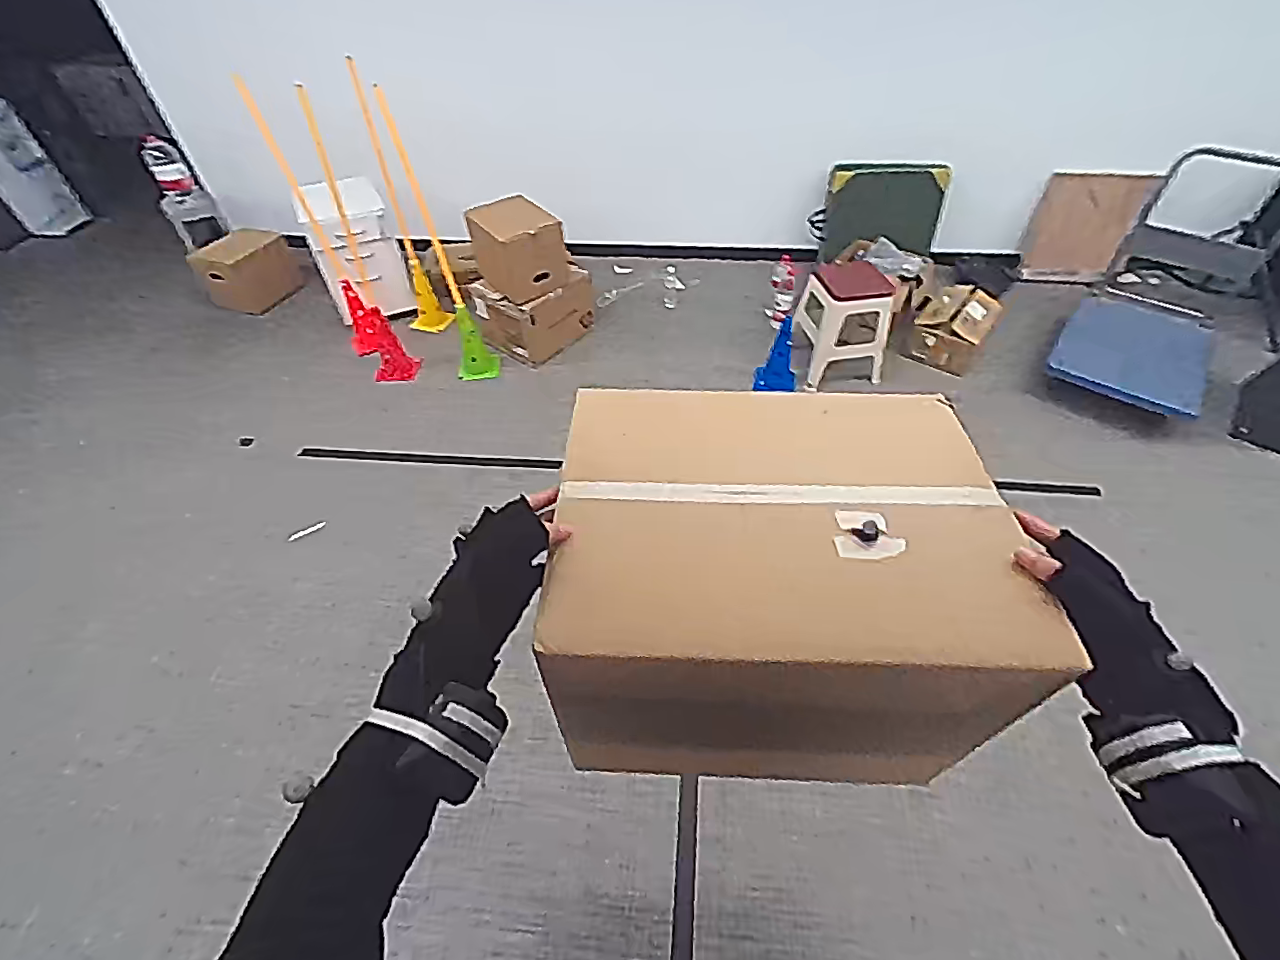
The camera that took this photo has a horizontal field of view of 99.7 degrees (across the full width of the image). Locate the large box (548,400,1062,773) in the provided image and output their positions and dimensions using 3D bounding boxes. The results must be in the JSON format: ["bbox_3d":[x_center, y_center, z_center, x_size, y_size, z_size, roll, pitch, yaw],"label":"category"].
[{"bbox_3d":[0.127,0.125,0.621,0.408,0.320,0.320,2,48,1],"label":"large box"}]
